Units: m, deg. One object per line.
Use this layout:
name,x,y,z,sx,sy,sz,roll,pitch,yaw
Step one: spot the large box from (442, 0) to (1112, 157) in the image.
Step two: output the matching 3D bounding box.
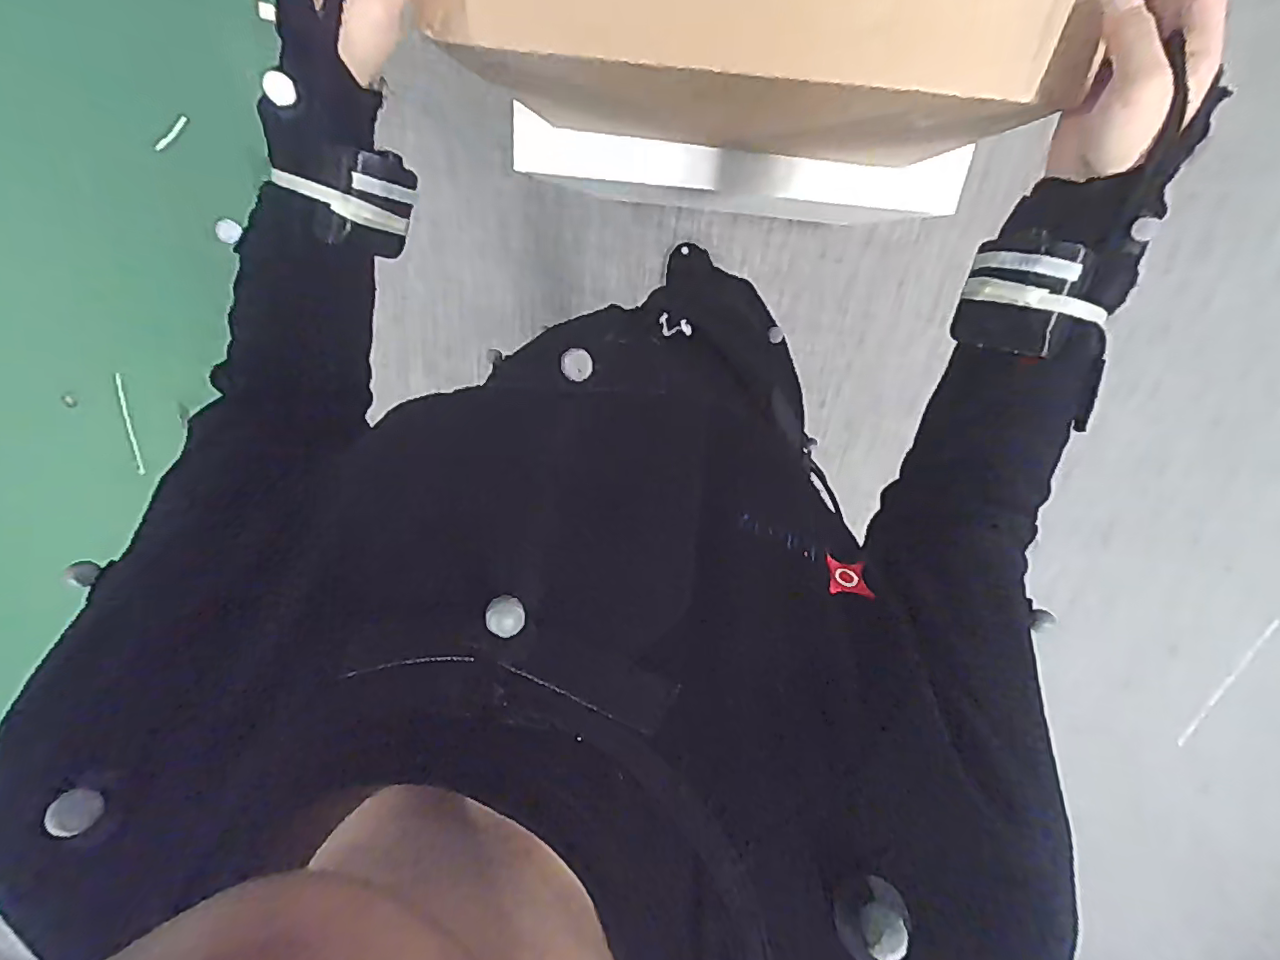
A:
large box,0.097,-0.457,0.408,0.408,0.320,0.320,8,115,2
